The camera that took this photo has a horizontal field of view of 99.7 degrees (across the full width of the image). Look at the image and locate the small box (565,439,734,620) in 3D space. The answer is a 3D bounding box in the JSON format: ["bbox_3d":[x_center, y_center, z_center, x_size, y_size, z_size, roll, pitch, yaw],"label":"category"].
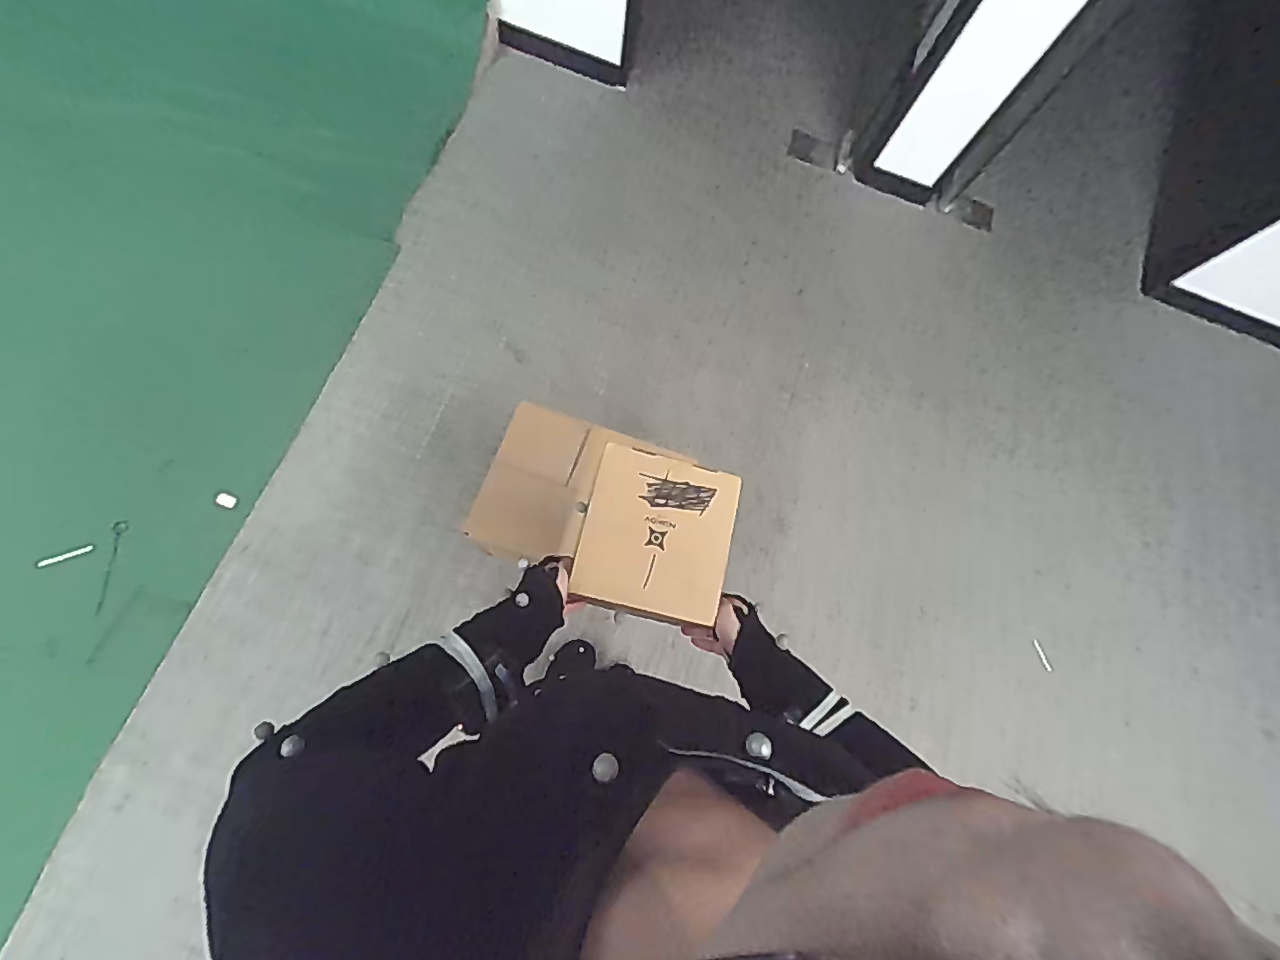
[{"bbox_3d":[0.002,0.071,0.685,0.168,0.176,0.179,14,75,-6],"label":"small box"}]
